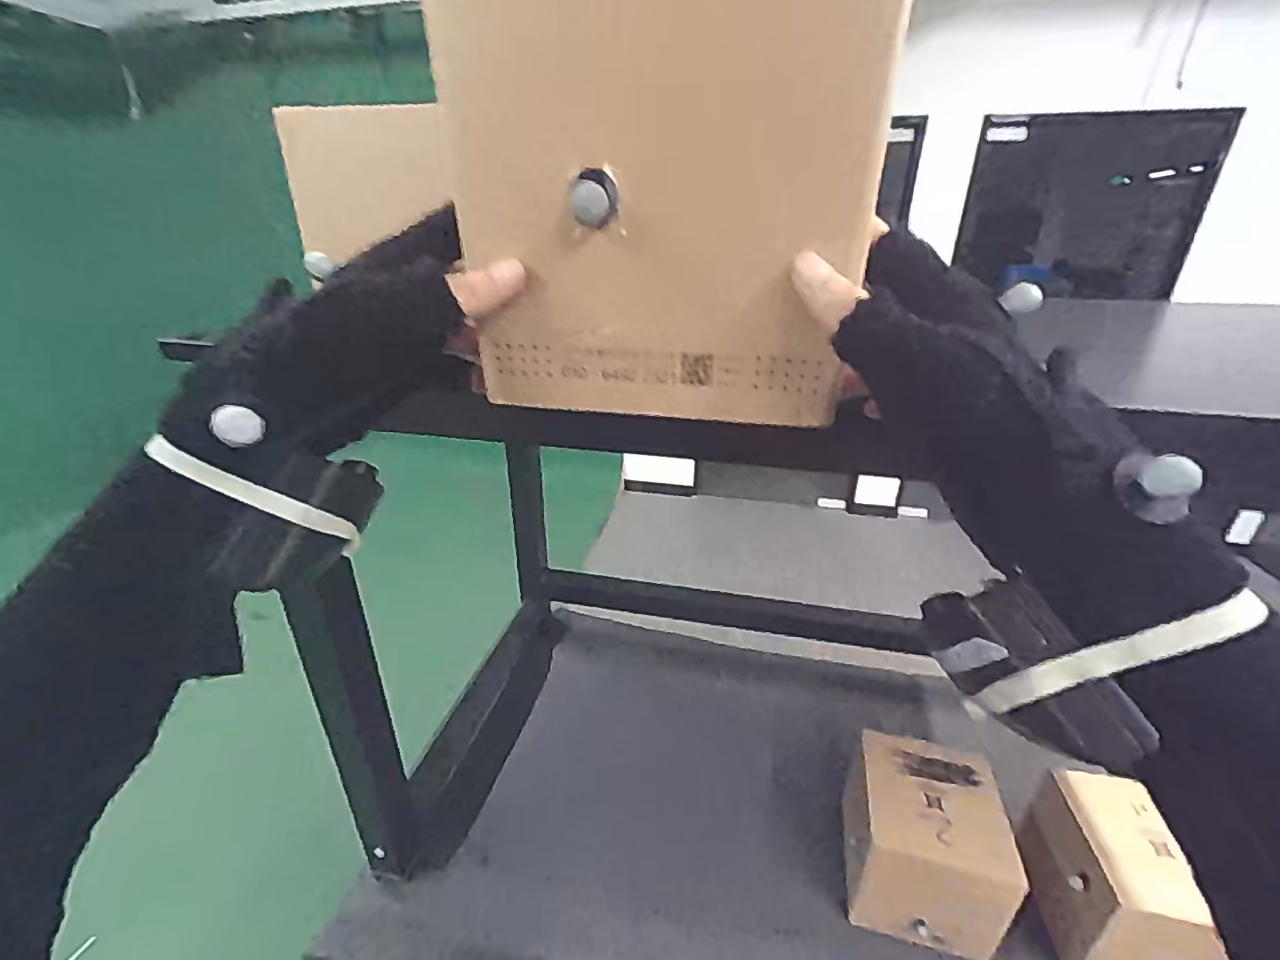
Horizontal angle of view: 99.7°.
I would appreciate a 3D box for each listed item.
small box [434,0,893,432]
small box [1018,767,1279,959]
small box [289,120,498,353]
[{"bbox_3d":[0.022,-0.135,0.292,0.168,0.176,0.179,5,30,10],"label":"small box"},{"bbox_3d":[0.616,0.505,0.676,0.168,0.176,0.179,6,24,11],"label":"small box"},{"bbox_3d":[-0.178,-0.225,0.509,0.168,0.176,0.179,5,26,10],"label":"small box"}]
